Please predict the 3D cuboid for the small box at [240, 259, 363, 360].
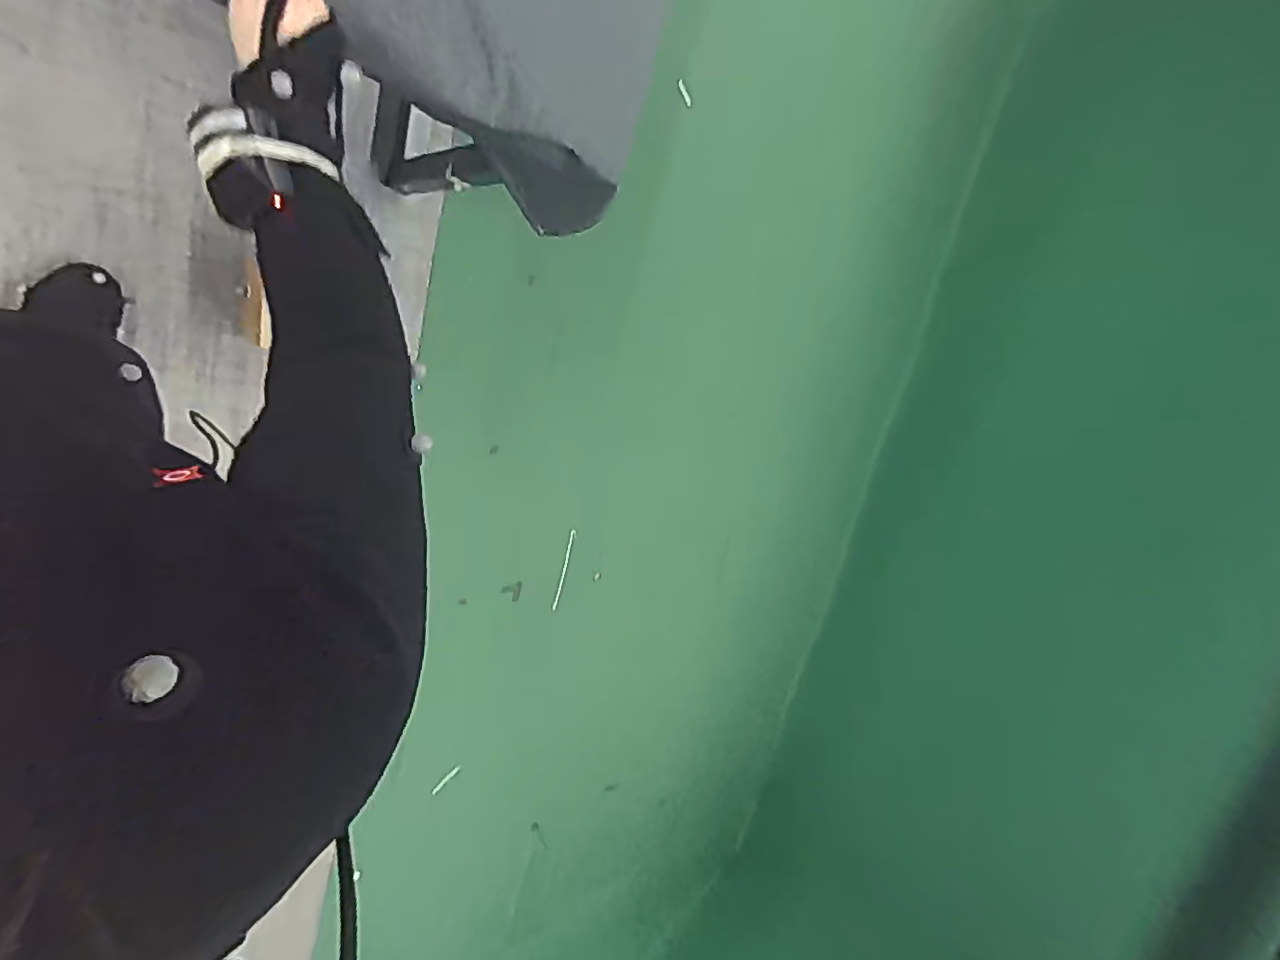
[{"bbox_3d":[-0.690,-0.348,1.101,0.179,0.176,0.168,-4,109,-46],"label":"small box"}]
